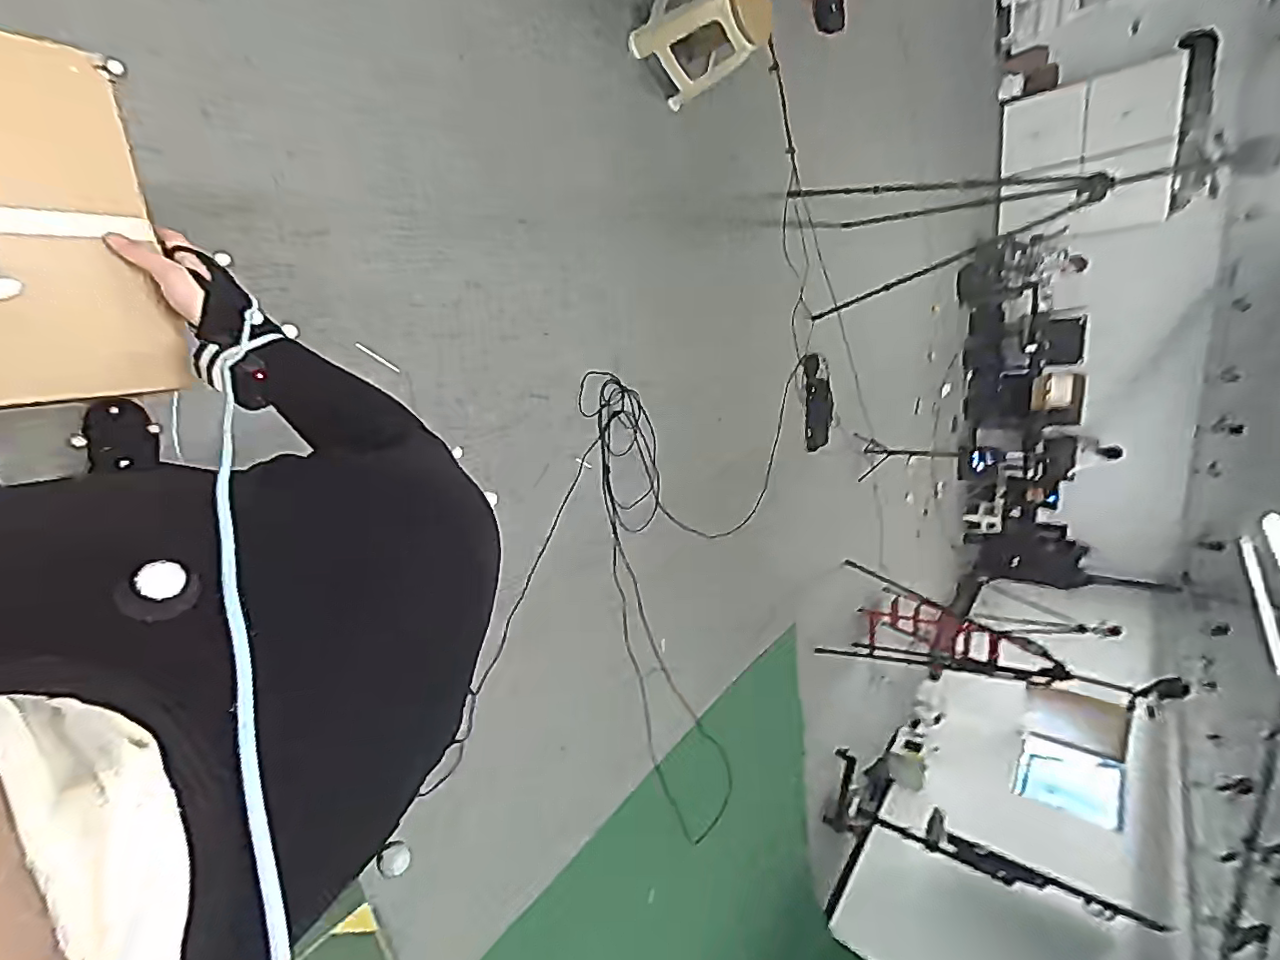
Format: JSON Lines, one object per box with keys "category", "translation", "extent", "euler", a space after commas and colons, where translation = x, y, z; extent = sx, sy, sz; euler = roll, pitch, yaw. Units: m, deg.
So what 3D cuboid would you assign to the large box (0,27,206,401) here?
{"category": "large box", "translation": [-0.731, -0.226, 0.513], "extent": [0.408, 0.320, 0.320], "euler": [-20, 110, -46]}
